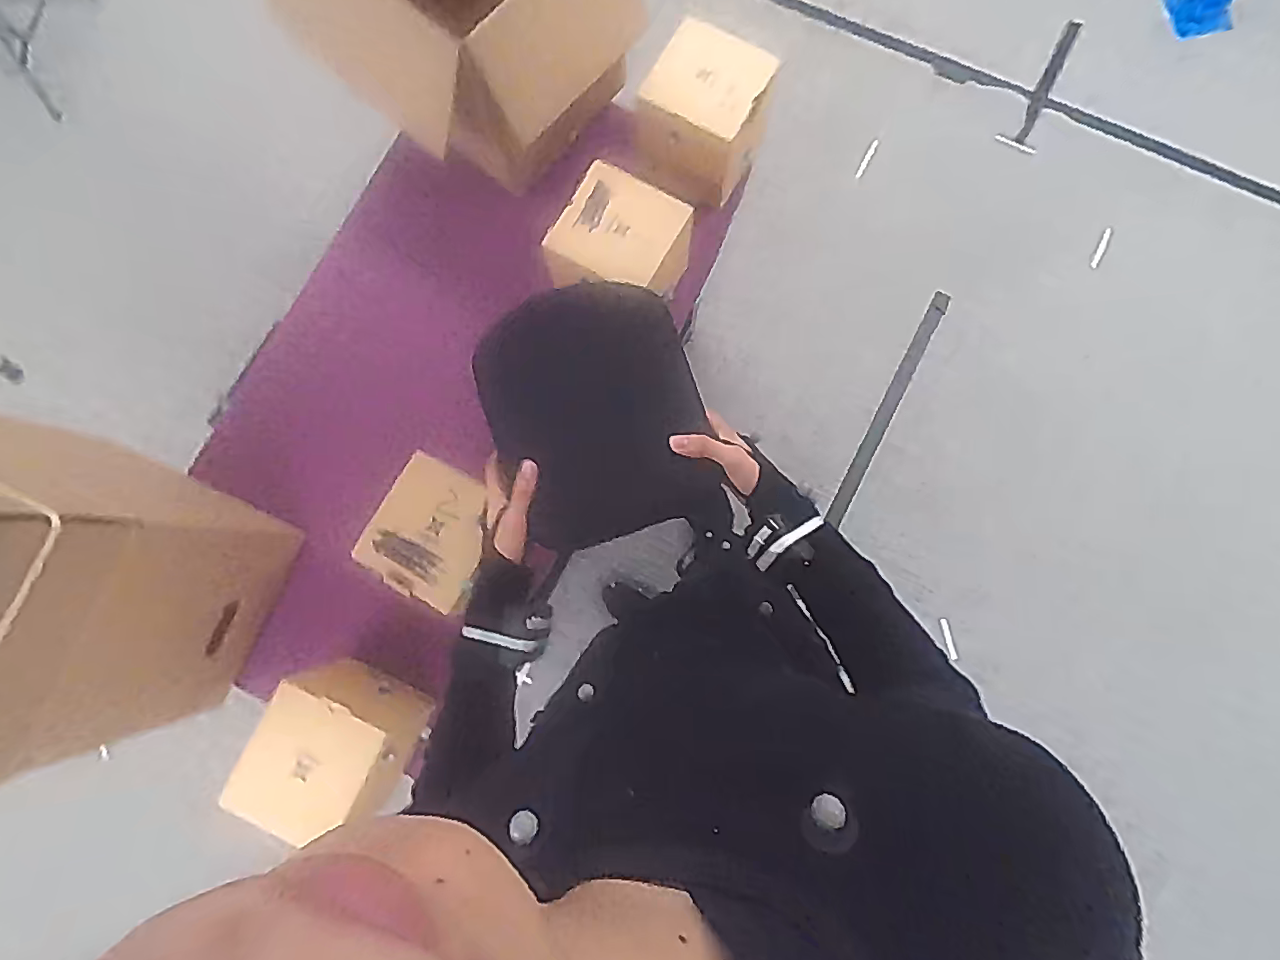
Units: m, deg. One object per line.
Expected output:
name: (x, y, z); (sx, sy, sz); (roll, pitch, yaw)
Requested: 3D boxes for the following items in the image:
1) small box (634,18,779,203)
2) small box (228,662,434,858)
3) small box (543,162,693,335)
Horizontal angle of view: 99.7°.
small box: (0.107, -0.615, 0.922); (0.179, 0.176, 0.168); (30, 84, 6)
small box: (-0.434, 0.392, 0.794); (0.168, 0.176, 0.179); (23, 82, 5)
small box: (-0.032, -0.368, 0.892); (0.179, 0.176, 0.168); (29, 84, 5)
